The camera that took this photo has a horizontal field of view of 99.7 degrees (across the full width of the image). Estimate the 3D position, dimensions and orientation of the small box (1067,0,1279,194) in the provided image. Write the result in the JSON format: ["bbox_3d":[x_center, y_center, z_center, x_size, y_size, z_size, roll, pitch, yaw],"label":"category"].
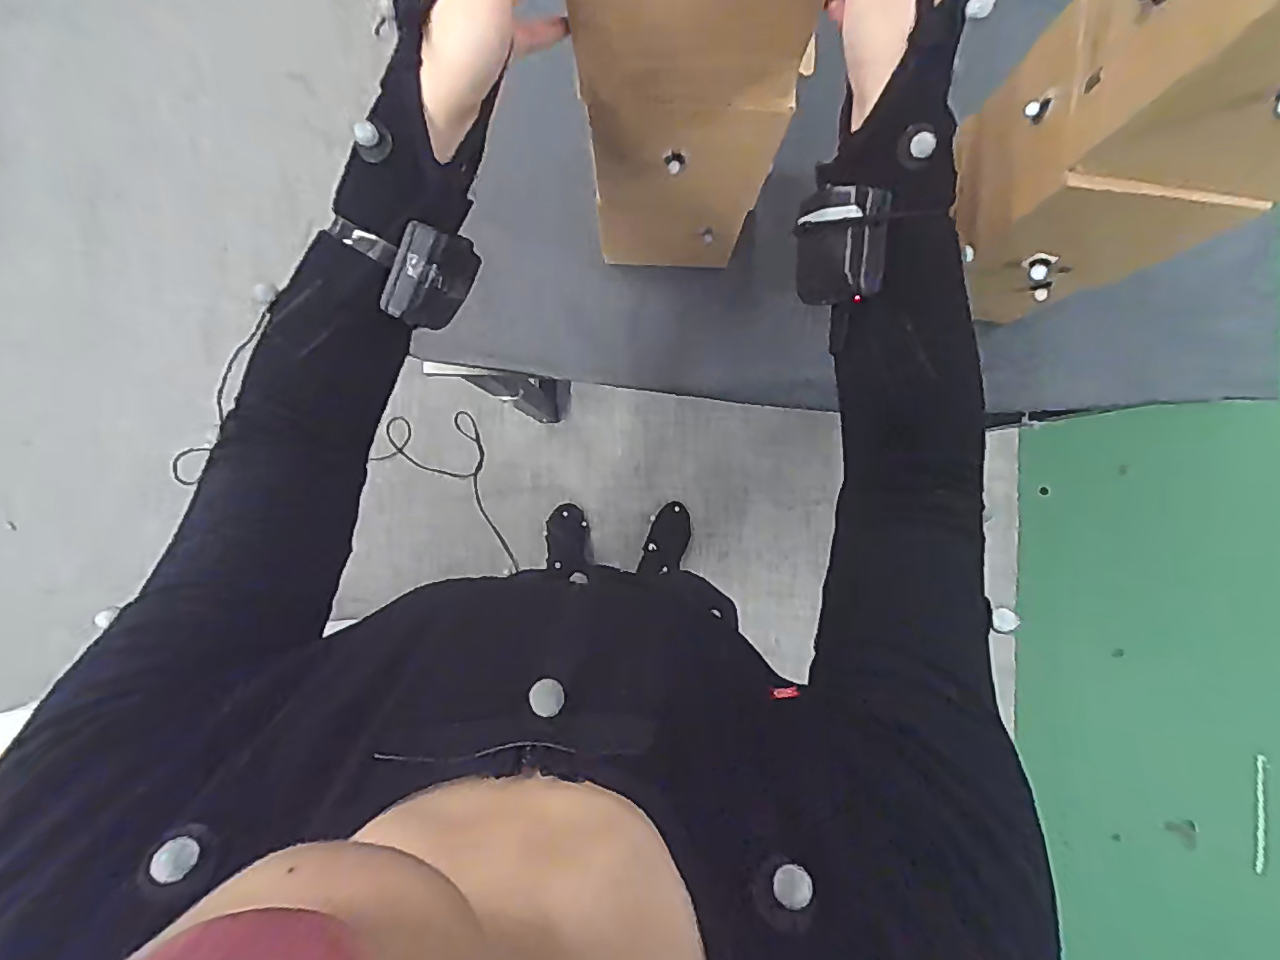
[{"bbox_3d":[0.432,-0.317,0.355,0.179,0.176,0.168,9,88,3],"label":"small box"}]

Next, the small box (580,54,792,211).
[{"bbox_3d":[0.040,-0.384,0.527,0.179,0.176,0.168,2,89,1],"label":"small box"}]

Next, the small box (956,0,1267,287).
[{"bbox_3d":[0.434,-0.309,0.518,0.168,0.176,0.179,7,89,3],"label":"small box"}]

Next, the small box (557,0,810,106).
[{"bbox_3d":[0.029,-0.387,0.364,0.179,0.176,0.168,-1,89,-1],"label":"small box"}]

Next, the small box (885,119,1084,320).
[{"bbox_3d":[0.439,-0.312,0.681,0.179,0.176,0.168,6,88,2],"label":"small box"}]
